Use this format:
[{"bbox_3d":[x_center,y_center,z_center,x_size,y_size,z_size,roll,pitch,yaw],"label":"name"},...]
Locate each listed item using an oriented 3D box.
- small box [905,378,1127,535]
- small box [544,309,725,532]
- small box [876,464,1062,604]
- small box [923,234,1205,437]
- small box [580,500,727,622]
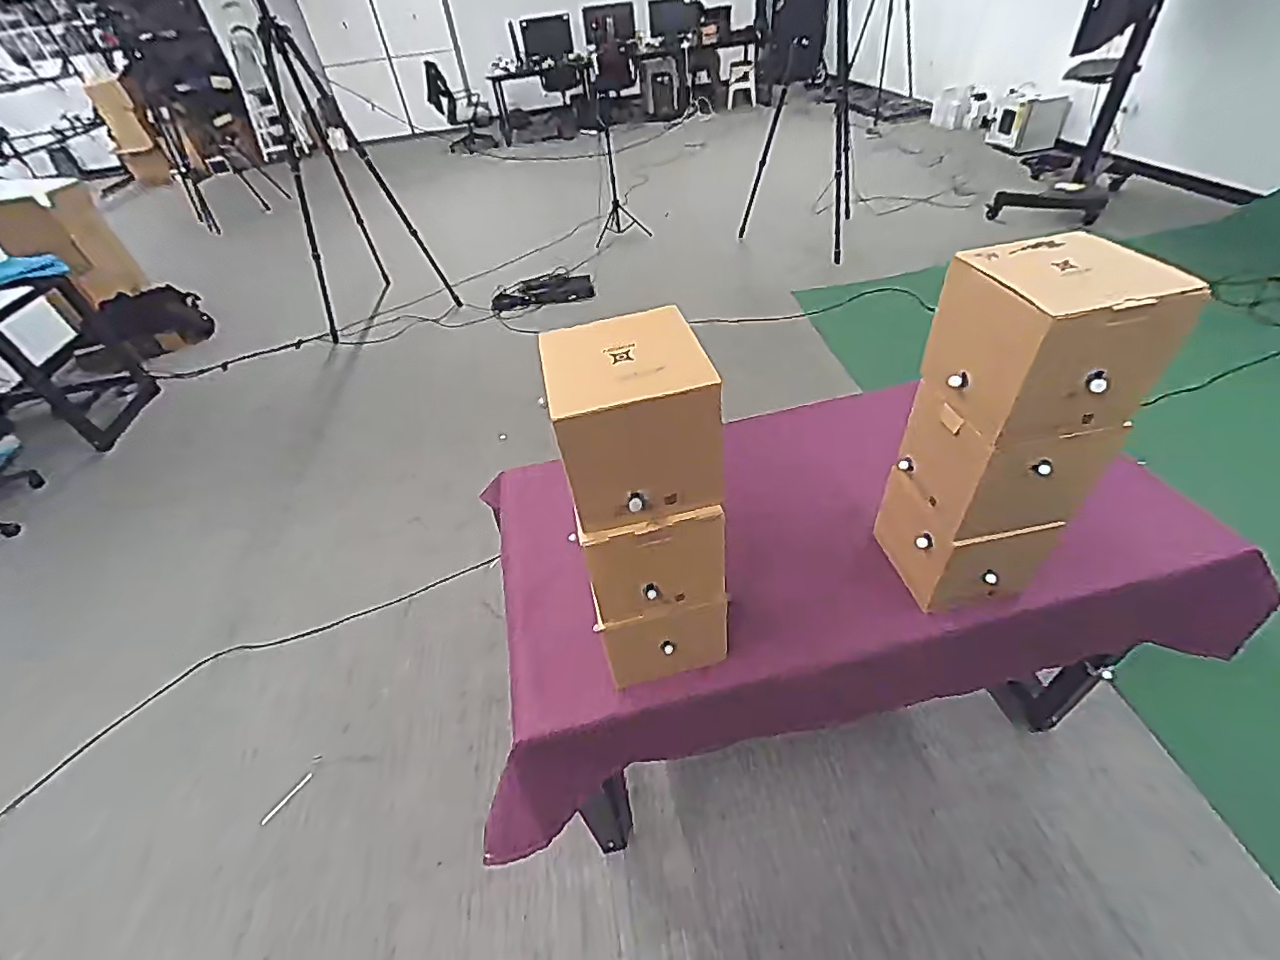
[{"bbox_3d":[0.495,-0.042,0.752,0.179,0.176,0.168,-10,43,-3],"label":"small box"},{"bbox_3d":[-0.008,-0.068,0.617,0.168,0.176,0.179,-13,44,-4],"label":"small box"},{"bbox_3d":[0.505,0.080,0.861,0.168,0.176,0.179,-10,43,-3],"label":"small box"},{"bbox_3d":[0.475,-0.166,0.645,0.168,0.176,0.179,-10,44,-3],"label":"small box"},{"bbox_3d":[0.009,0.058,0.720,0.168,0.176,0.179,-13,44,-5],"label":"small box"}]
